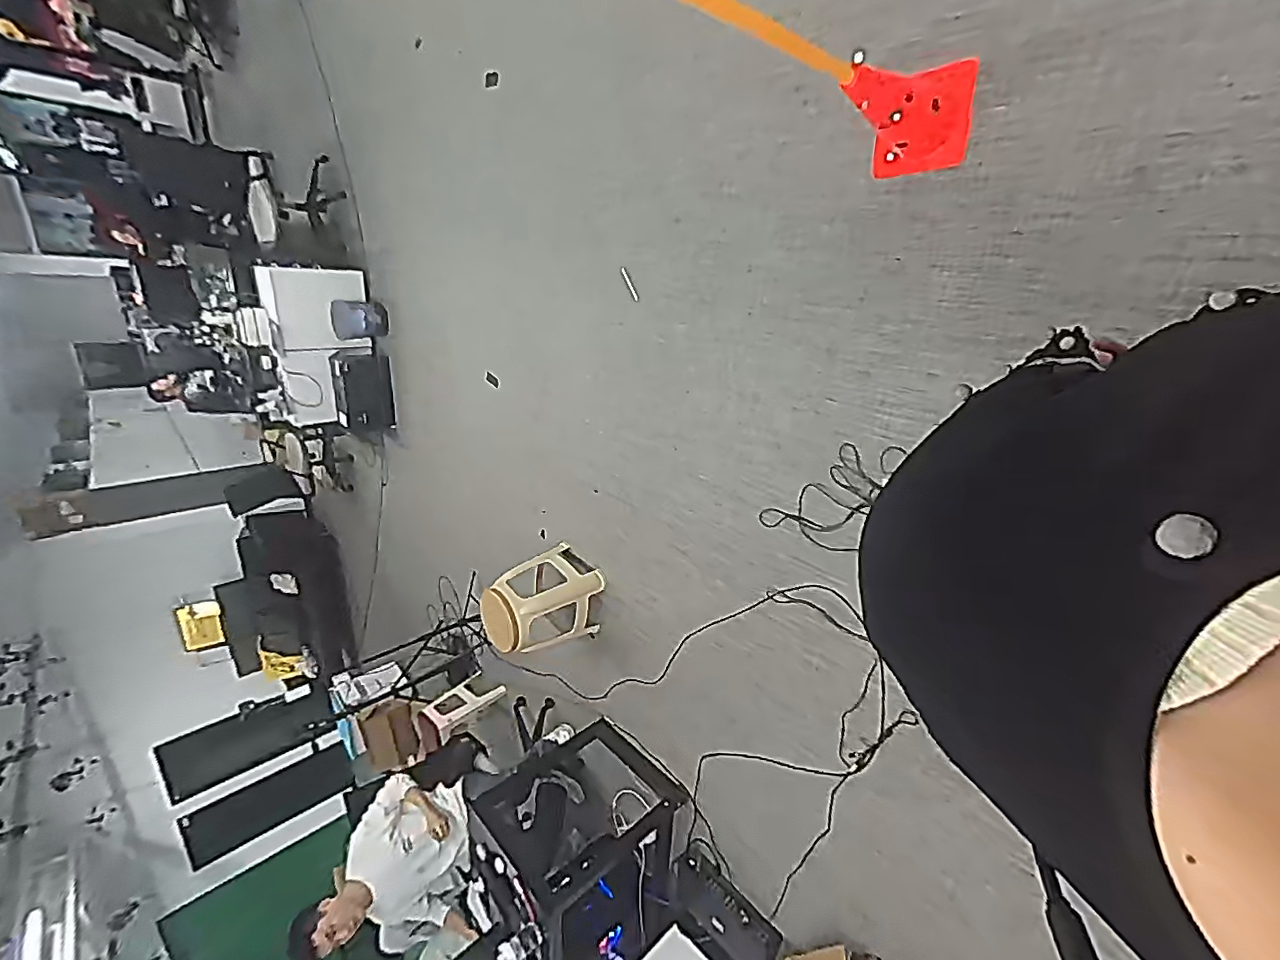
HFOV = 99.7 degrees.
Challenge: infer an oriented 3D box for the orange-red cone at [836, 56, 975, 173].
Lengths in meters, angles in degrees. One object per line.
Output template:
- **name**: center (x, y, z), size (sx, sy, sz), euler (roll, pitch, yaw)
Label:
- **orange-red cone**: center (0.491, -0.757, 1.072), size (0.199, 0.360, 0.198), euler (17, 115, 43)
